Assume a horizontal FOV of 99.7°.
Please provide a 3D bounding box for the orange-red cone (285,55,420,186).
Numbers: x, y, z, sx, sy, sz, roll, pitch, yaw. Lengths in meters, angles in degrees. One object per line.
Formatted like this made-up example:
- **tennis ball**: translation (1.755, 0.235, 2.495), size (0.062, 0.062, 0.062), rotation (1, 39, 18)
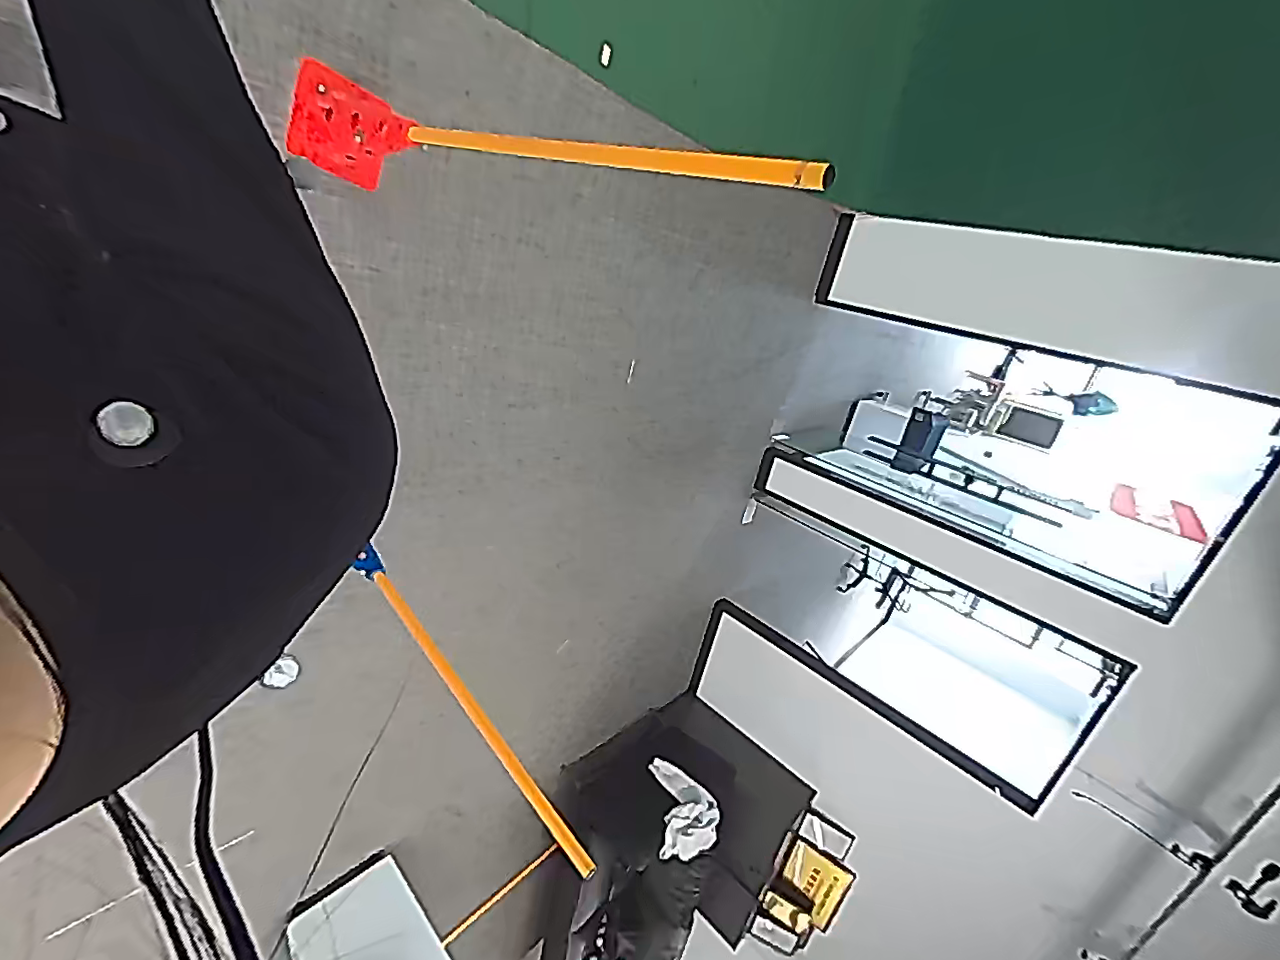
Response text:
- **orange-red cone**: translation (-0.553, -0.730, 1.118), size (0.198, 0.360, 0.199), rotation (6, 110, -52)
